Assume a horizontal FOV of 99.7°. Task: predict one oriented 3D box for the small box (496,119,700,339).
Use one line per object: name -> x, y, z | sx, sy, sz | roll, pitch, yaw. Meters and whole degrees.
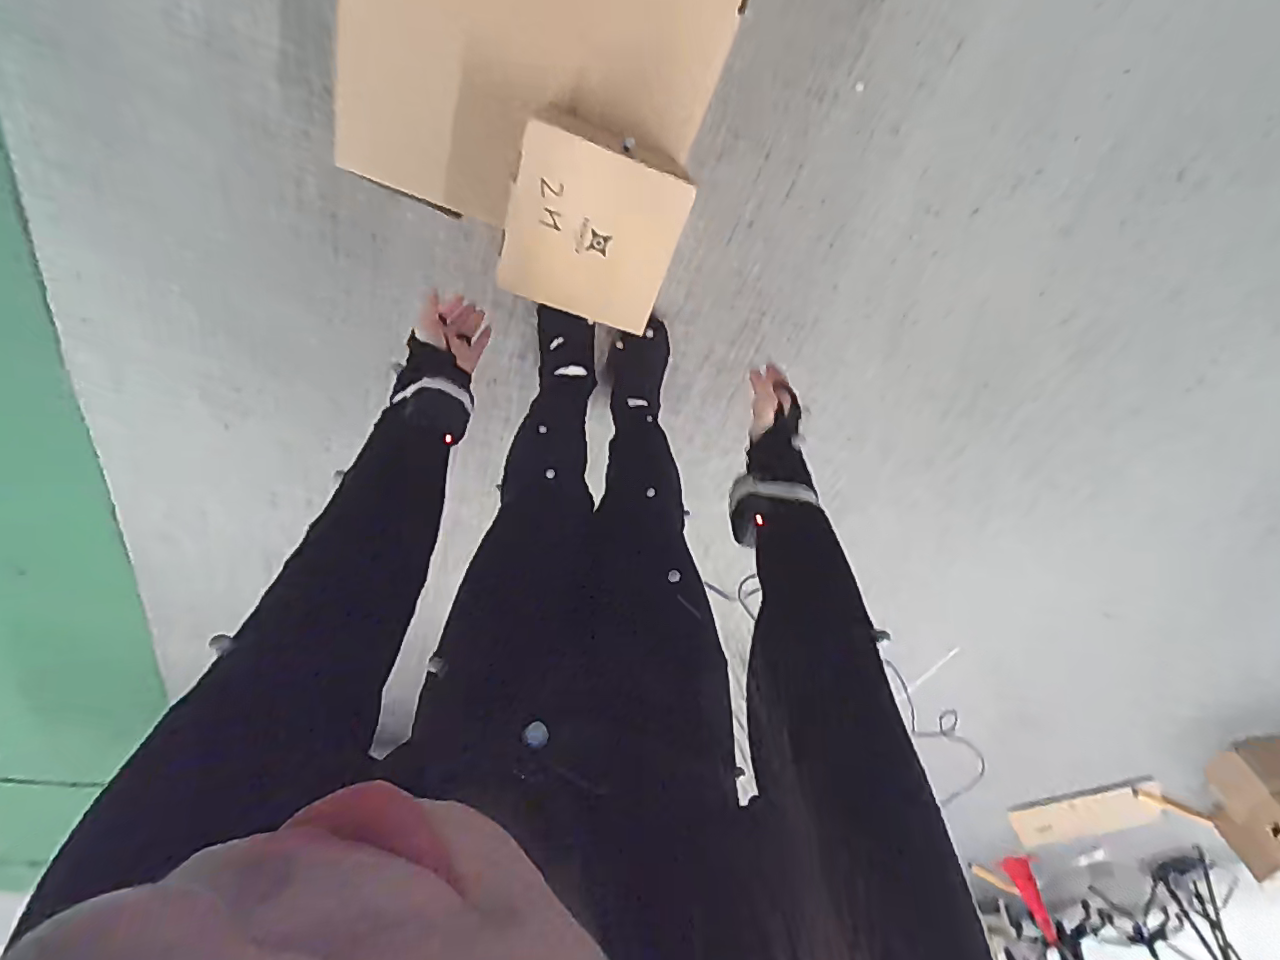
small box -> -0.051, -0.296, 0.629 | 0.179, 0.176, 0.168 | 16, 124, -15
